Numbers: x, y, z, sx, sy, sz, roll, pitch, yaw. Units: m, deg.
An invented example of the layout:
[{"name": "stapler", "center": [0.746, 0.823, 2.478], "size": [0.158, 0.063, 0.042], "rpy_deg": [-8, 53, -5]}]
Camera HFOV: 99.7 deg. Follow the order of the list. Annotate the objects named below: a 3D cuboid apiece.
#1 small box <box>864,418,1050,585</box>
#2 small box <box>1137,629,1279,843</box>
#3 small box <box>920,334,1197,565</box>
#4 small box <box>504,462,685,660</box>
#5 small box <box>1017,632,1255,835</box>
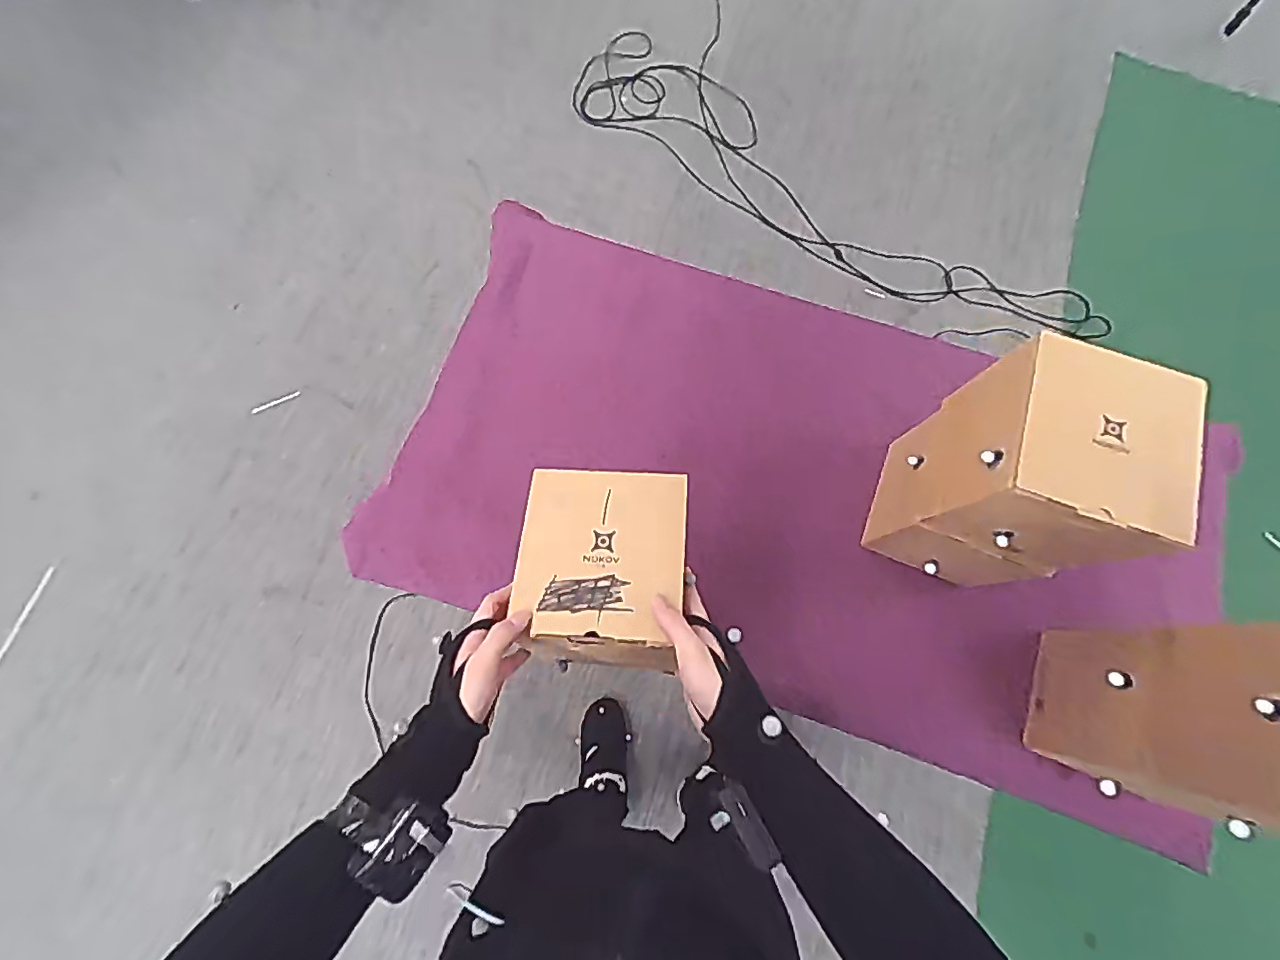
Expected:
[{"name": "small box", "center": [0.434, 0.030, 0.741], "size": [0.168, 0.176, 0.179], "rpy_deg": [22, 75, 4]}, {"name": "small box", "center": [0.633, 0.251, 0.517], "size": [0.168, 0.176, 0.179], "rpy_deg": [22, 74, 6]}, {"name": "small box", "center": [0.435, -0.020, 0.587], "size": [0.168, 0.176, 0.179], "rpy_deg": [19, 76, 3]}, {"name": "small box", "center": [-0.035, 0.098, 0.609], "size": [0.168, 0.176, 0.179], "rpy_deg": [3, 63, 5]}, {"name": "small box", "center": [0.624, 0.299, 0.673], "size": [0.179, 0.176, 0.168], "rpy_deg": [22, 74, 4]}]
